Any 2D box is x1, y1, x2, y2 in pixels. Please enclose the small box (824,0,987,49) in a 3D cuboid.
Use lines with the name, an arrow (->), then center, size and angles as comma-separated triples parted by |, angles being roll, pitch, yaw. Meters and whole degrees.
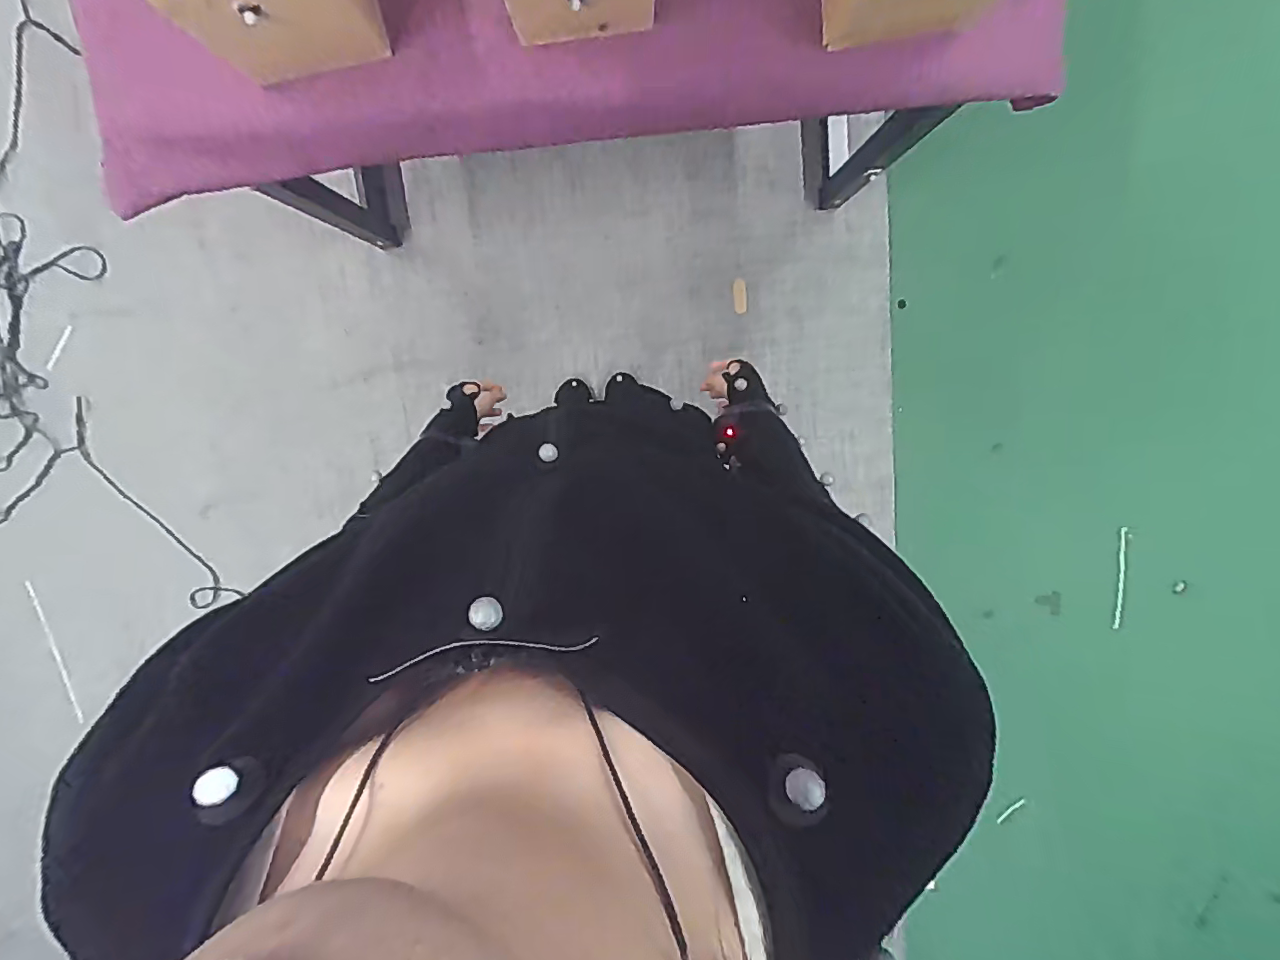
small box -> 0.307, -0.606, 0.576 | 0.179, 0.176, 0.168 | -7, 102, 4

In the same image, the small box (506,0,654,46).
small box -> -0.073, -0.609, 0.581 | 0.168, 0.176, 0.179 | -6, 100, 2
